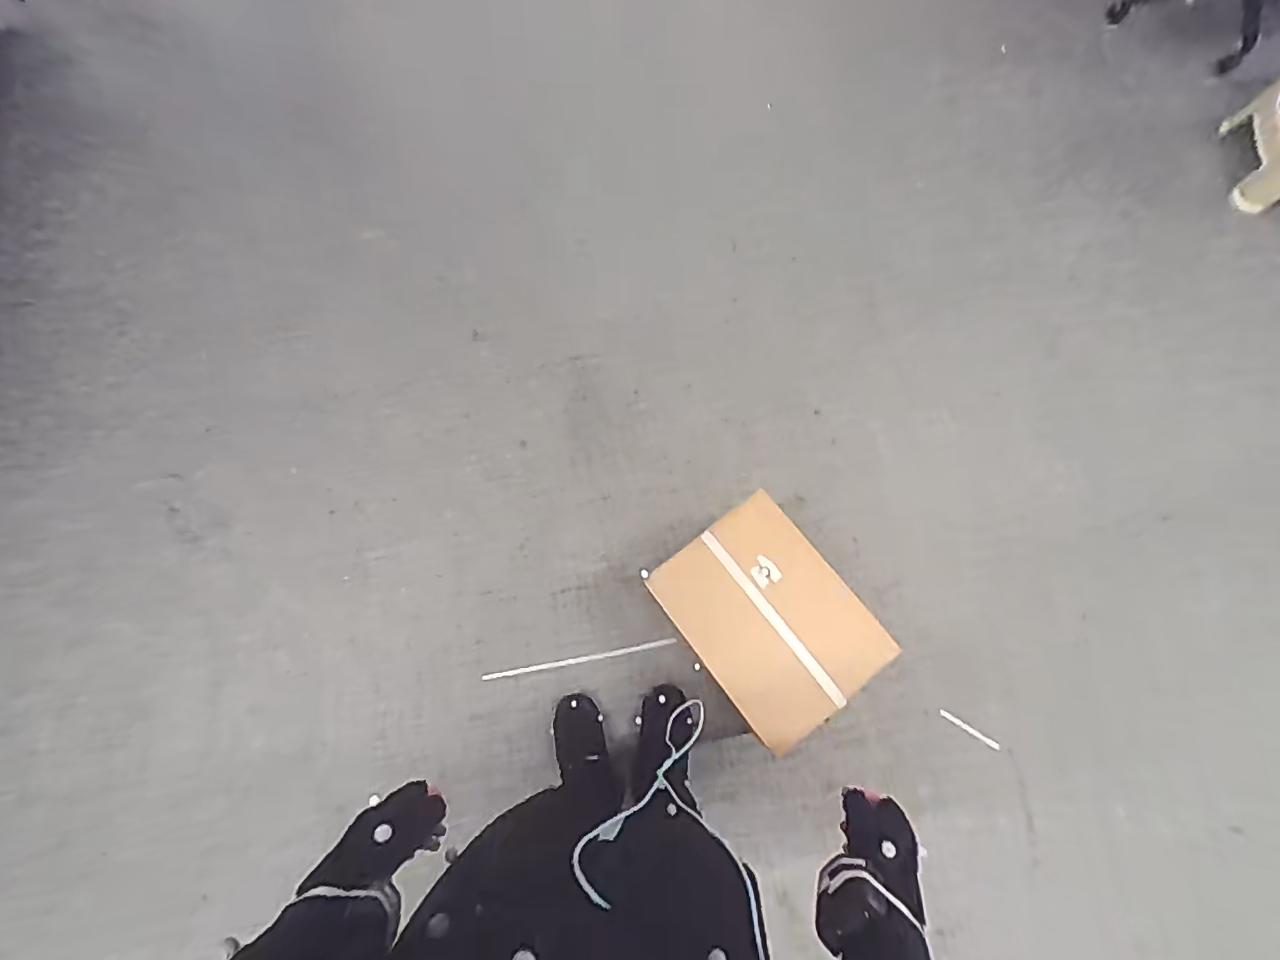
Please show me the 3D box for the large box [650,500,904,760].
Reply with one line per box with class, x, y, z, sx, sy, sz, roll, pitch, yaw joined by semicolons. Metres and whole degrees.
large box;0.271;0.318;1.189;0.320;0.320;0.408;-36;74;-8
